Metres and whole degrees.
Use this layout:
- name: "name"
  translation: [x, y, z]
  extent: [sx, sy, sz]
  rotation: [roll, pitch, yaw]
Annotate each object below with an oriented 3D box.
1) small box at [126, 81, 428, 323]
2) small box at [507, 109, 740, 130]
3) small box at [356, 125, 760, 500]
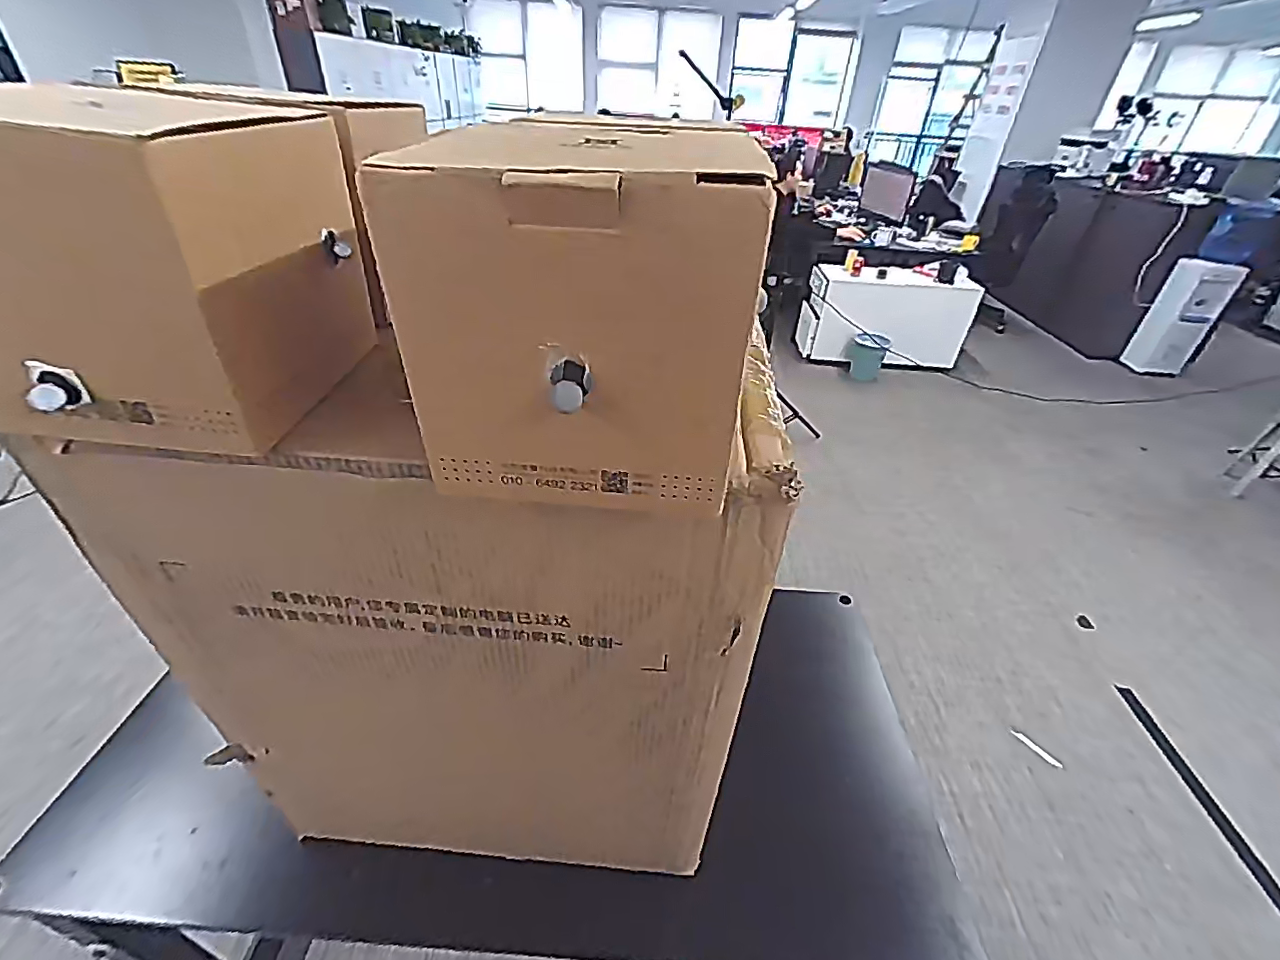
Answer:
- name: "small box"
  translation: [-0.304, -0.262, 0.513]
  extent: [0.168, 0.176, 0.179]
  rotation: [3, 34, -1]
- name: "small box"
  translation: [-0.014, -0.224, 0.484]
  extent: [0.168, 0.176, 0.179]
  rotation: [2, 35, -1]
- name: "small box"
  translation: [-0.027, -0.105, 0.324]
  extent: [0.168, 0.176, 0.179]
  rotation: [4, 37, 3]
